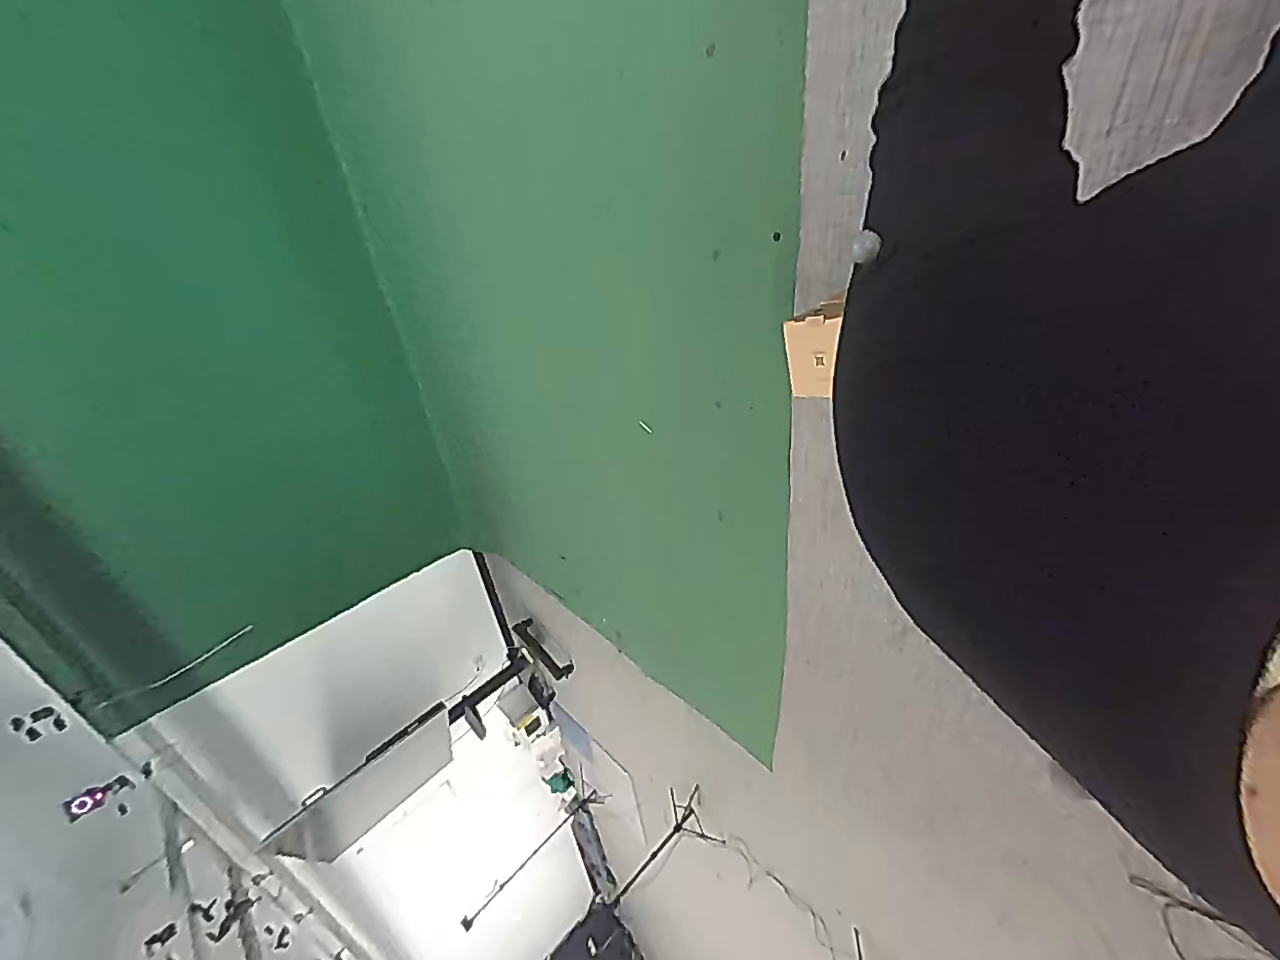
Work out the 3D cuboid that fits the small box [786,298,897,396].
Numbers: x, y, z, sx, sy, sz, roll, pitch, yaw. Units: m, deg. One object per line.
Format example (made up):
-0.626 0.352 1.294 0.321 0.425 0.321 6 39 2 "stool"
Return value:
0.454 -0.299 1.211 0.168 0.176 0.179 12 125 50 "small box"
